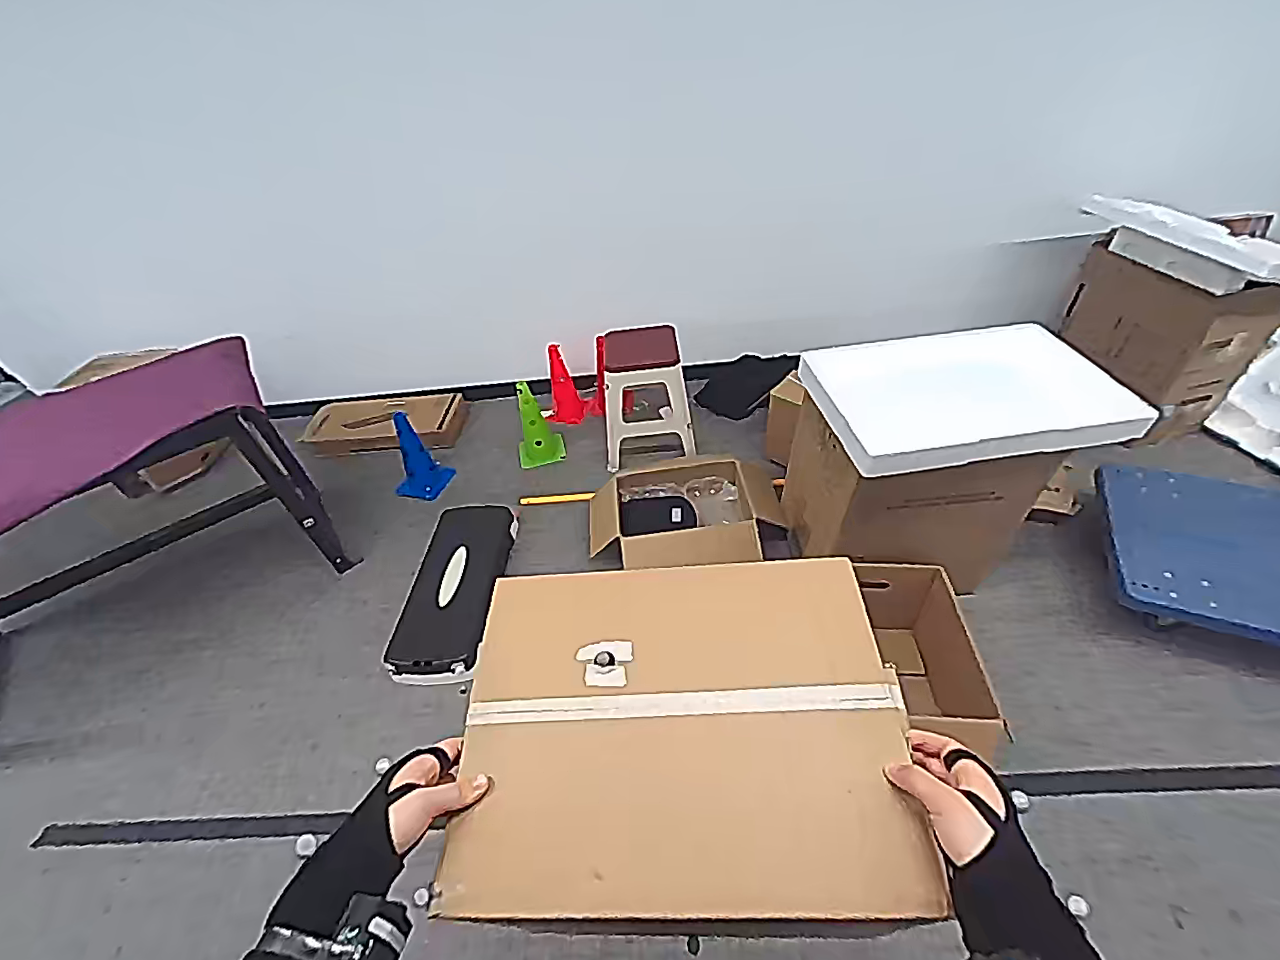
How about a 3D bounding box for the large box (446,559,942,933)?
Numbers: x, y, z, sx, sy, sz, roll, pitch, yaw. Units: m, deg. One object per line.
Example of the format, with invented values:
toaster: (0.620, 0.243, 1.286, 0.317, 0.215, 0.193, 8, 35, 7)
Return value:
large box: (0.056, 0.322, 0.634, 0.408, 0.320, 0.320, -6, 46, 6)
